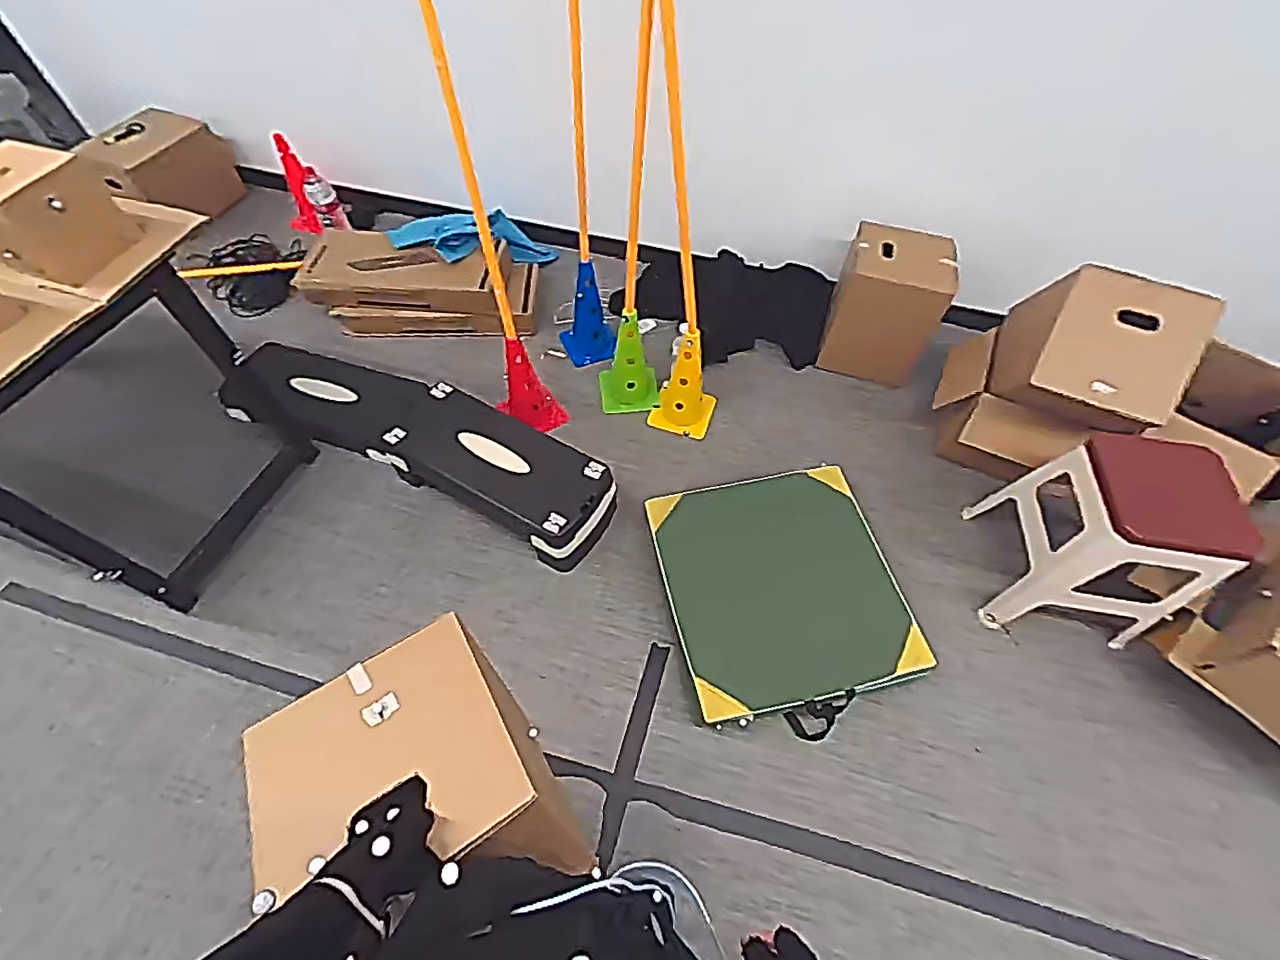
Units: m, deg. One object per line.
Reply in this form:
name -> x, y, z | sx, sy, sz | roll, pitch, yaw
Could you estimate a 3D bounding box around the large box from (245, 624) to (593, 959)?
large box -> -0.314, 0.500, 0.833 | 0.320, 0.408, 0.320 | -29, 48, -16
